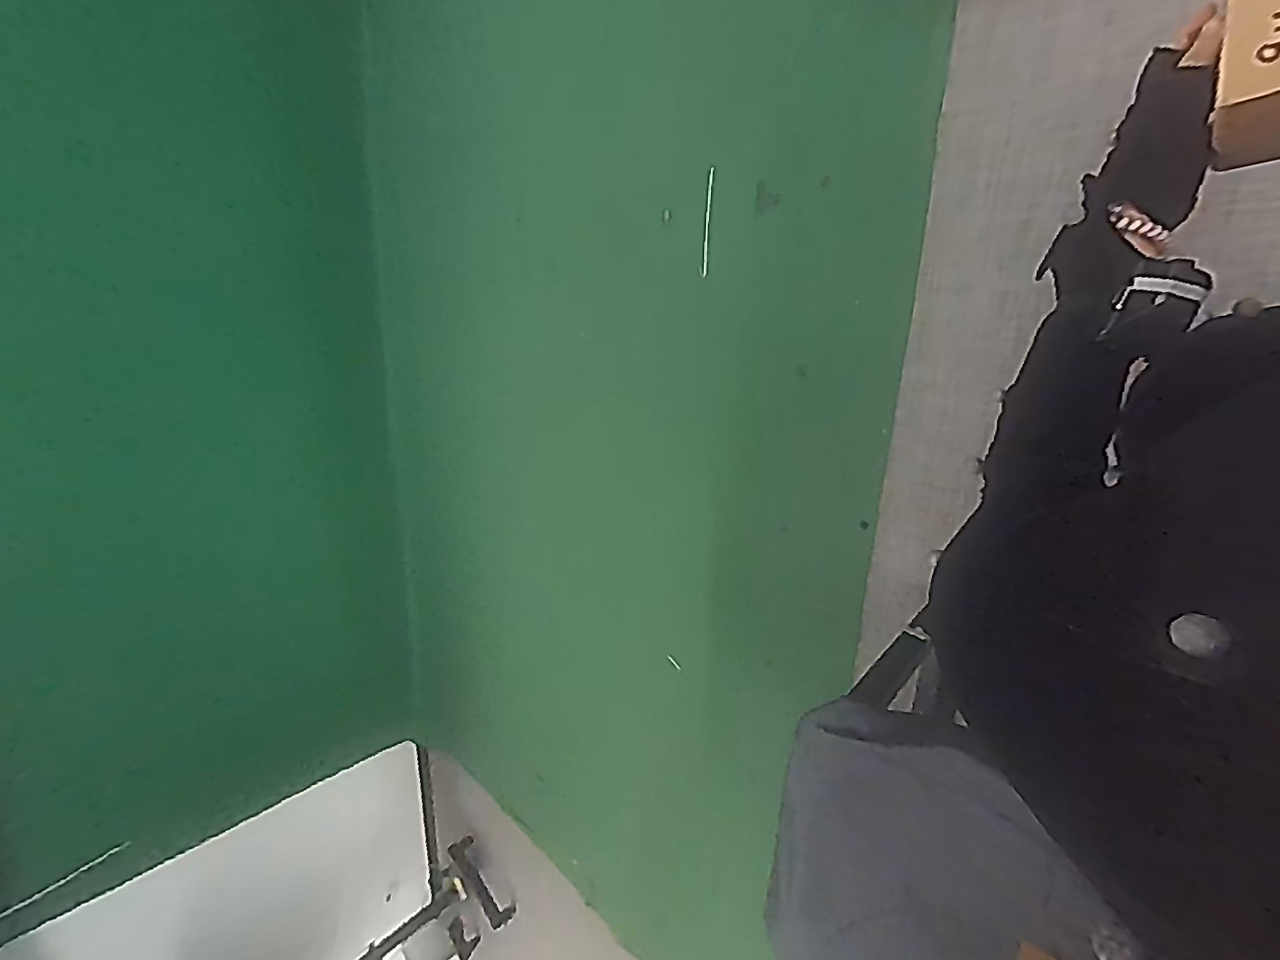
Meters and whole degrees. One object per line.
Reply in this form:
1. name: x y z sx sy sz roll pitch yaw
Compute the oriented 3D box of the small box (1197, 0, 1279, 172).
1. small box: 0.456 -0.306 0.310 0.179 0.176 0.168 7 102 44
